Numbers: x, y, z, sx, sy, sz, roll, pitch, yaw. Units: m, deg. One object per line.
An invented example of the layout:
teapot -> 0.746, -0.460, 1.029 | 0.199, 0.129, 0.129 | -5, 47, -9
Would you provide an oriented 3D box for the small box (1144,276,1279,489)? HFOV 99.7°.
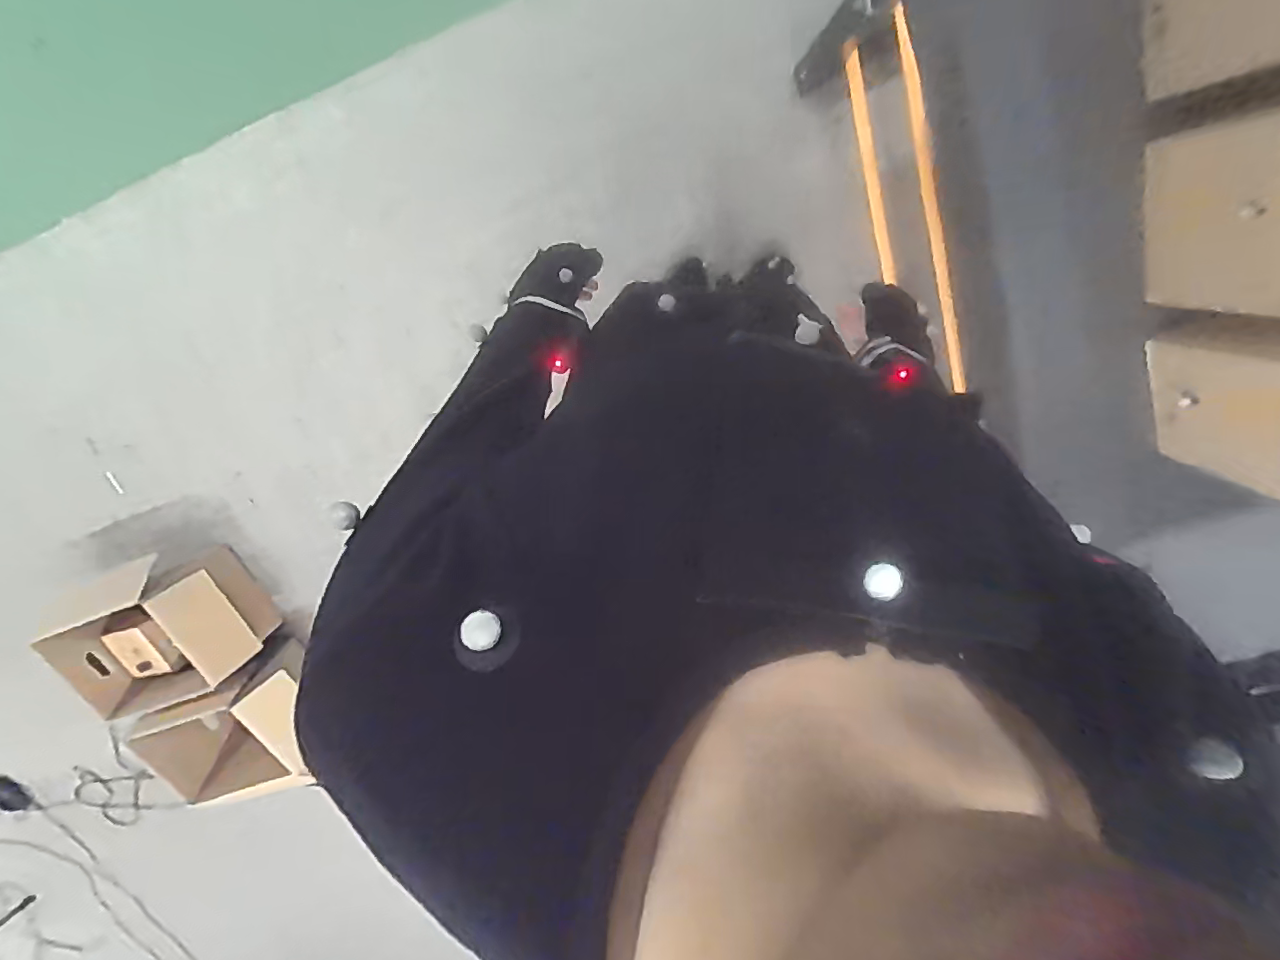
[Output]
small box -> 0.723, -0.118, 0.596 | 0.179, 0.176, 0.168 | -24, 110, 12
